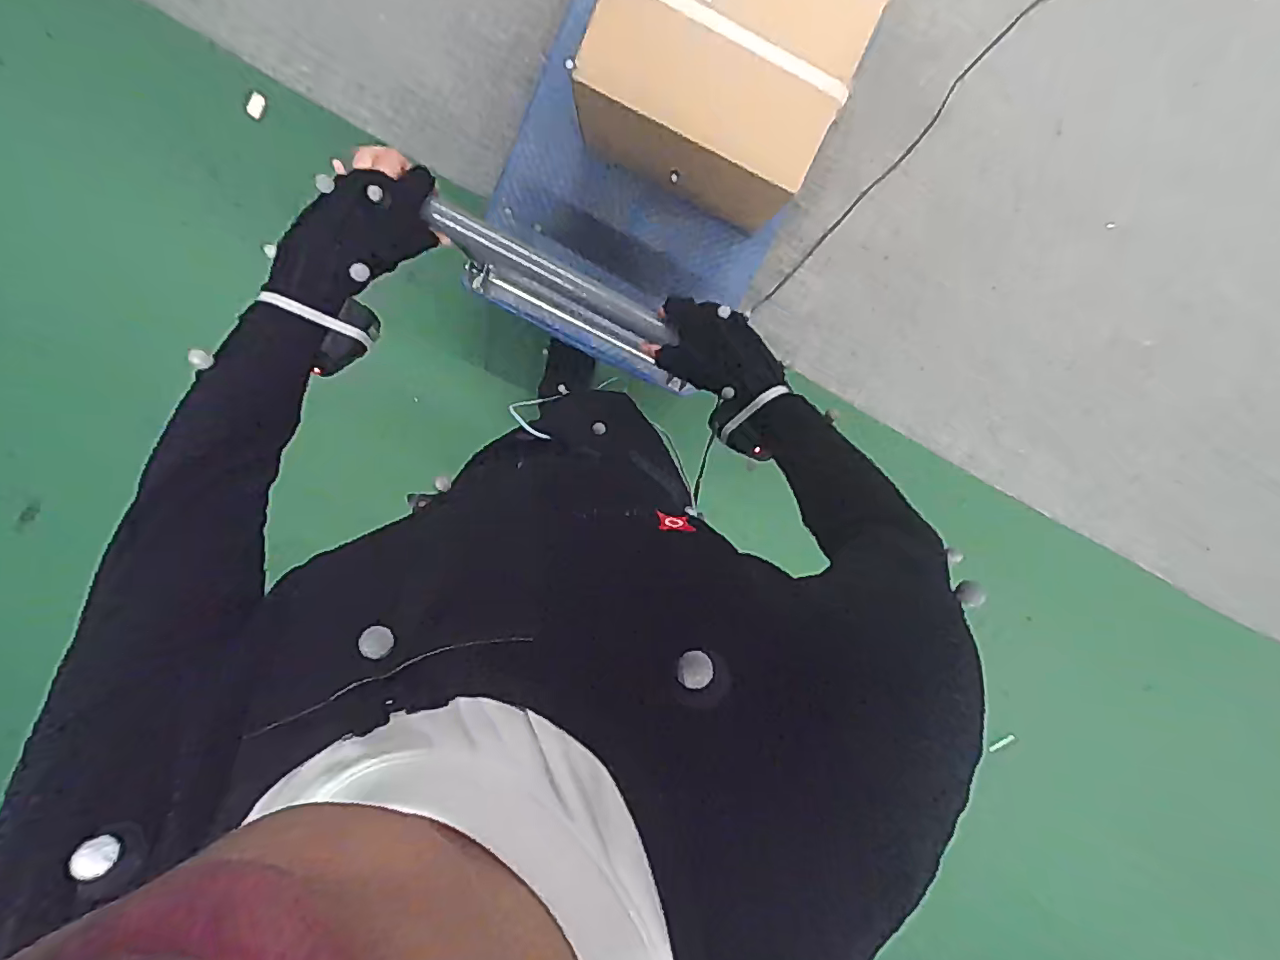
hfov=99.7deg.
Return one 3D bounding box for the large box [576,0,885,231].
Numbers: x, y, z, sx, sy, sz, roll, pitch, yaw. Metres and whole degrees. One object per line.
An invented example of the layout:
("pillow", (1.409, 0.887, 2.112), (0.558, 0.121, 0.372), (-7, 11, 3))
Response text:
("large box", (0.138, -0.712, 0.985), (0.408, 0.320, 0.320), (23, 101, -6))
